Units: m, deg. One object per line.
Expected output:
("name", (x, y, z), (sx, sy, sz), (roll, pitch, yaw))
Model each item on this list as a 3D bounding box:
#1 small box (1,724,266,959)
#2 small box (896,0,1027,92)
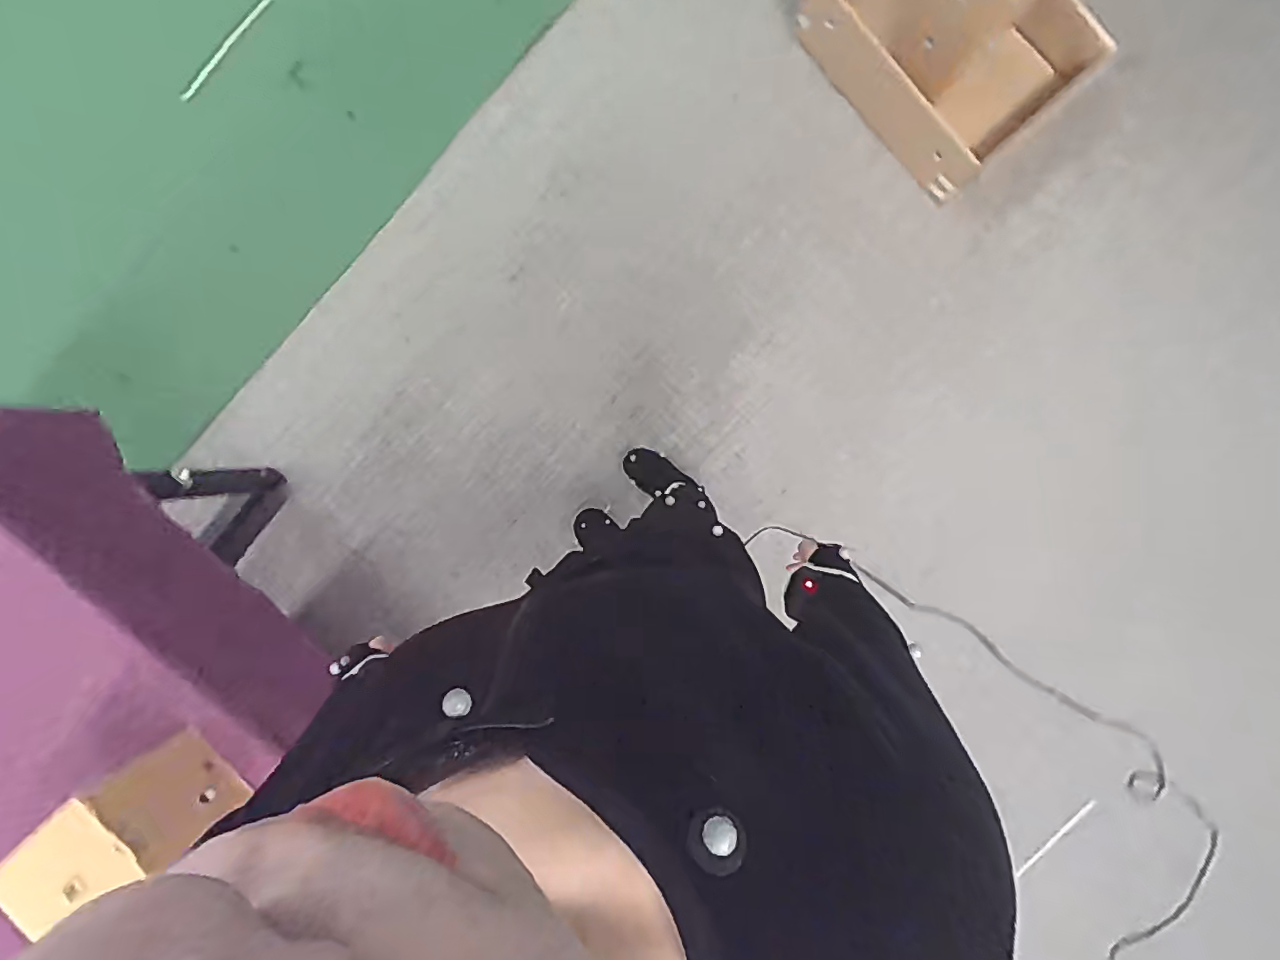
("small box", (-0.681, 0.486, 0.750), (0.179, 0.176, 0.168), (-42, 91, 3))
("small box", (0.747, -1.080, 1.276), (0.168, 0.176, 0.179), (-41, 90, 5))
